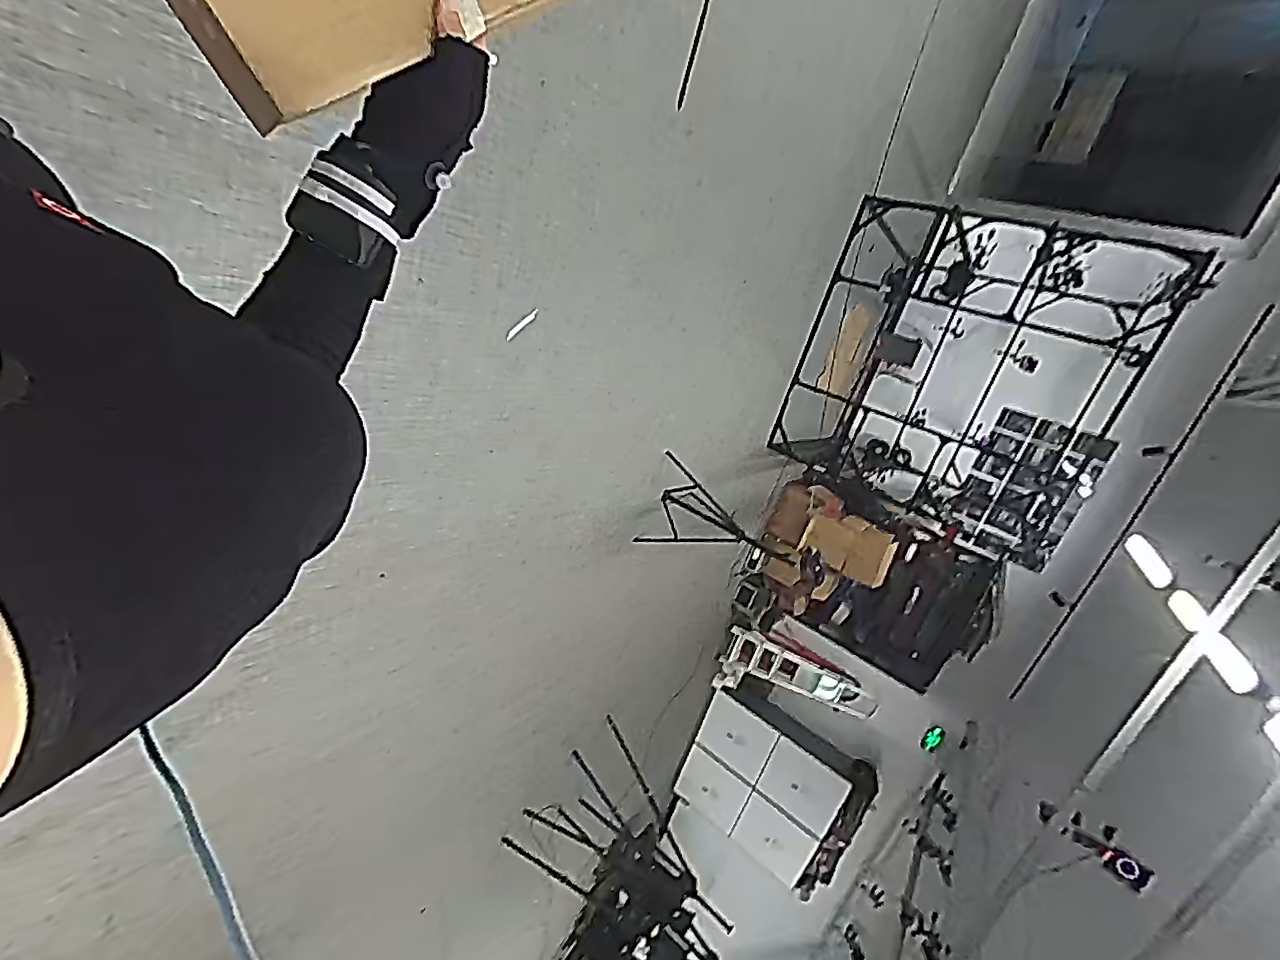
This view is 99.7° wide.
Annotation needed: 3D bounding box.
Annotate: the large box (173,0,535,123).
[{"bbox_3d":[-0.284,-0.553,0.398,0.320,0.320,0.408,-38,133,-13],"label":"large box"}]
